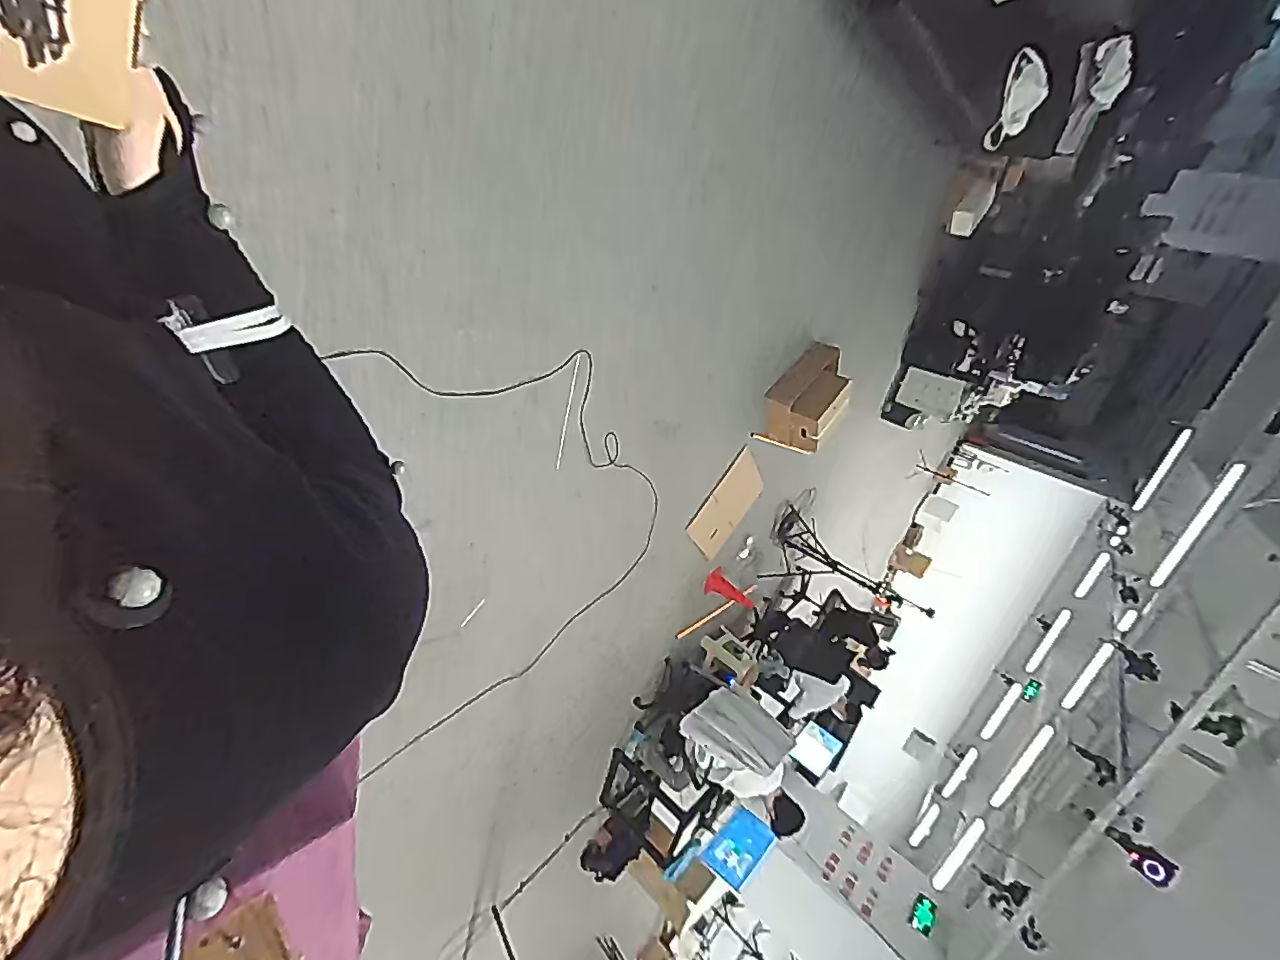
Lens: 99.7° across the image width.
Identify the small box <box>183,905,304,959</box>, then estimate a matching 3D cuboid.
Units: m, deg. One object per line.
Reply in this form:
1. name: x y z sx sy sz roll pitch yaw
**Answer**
1. small box: -0.713 0.935 0.979 0.168 0.176 0.179 -15 125 -48
